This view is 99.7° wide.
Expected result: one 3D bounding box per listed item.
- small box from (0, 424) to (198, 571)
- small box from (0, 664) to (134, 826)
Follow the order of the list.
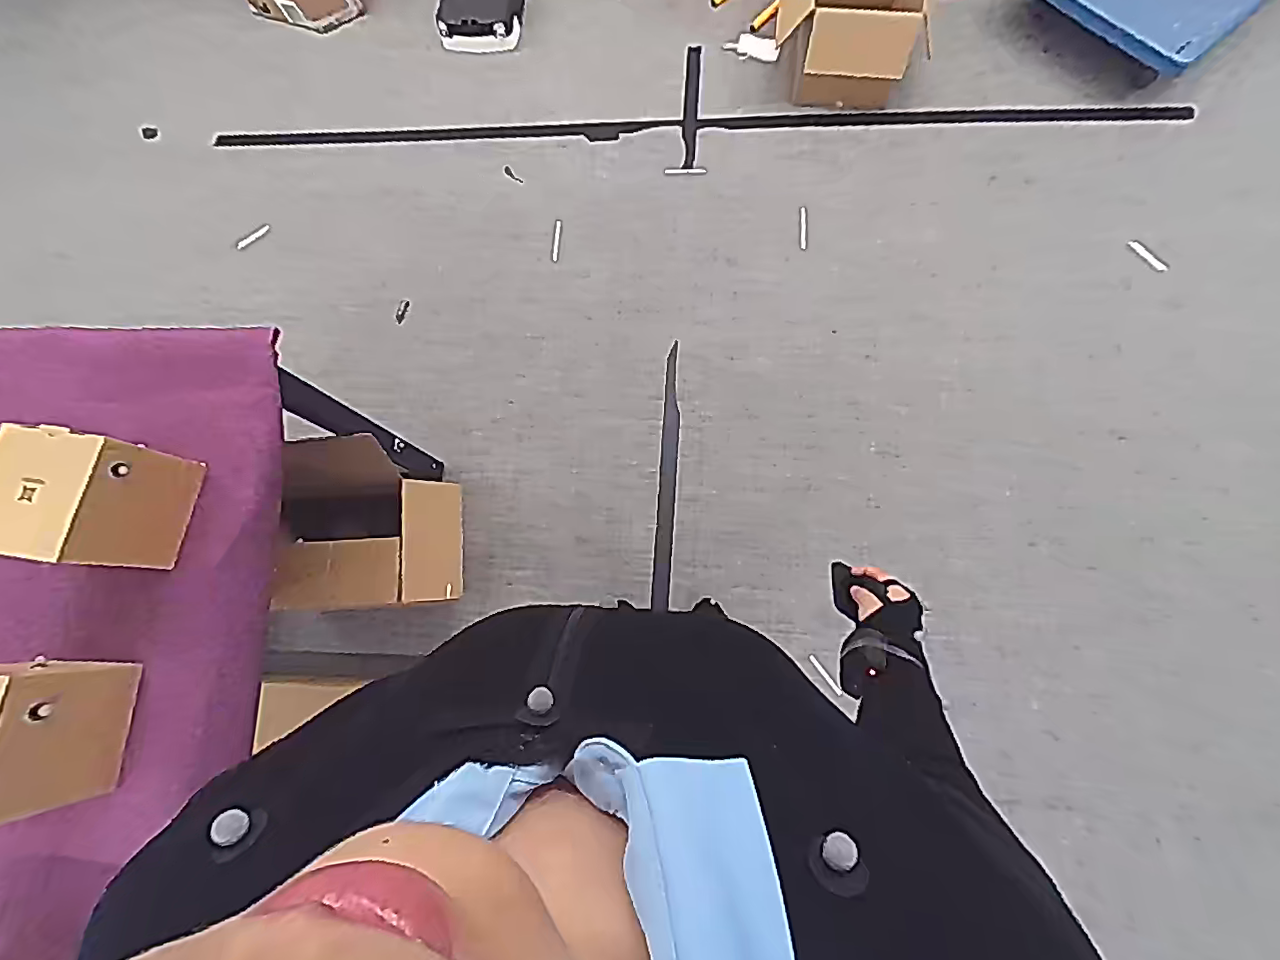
[{"bbox_3d":[-0.808,0.035,0.793,0.168,0.176,0.179,7,77,6],"label":"small box"},{"bbox_3d":[-0.838,0.343,0.720,0.168,0.176,0.179,-1,76,7],"label":"small box"}]
